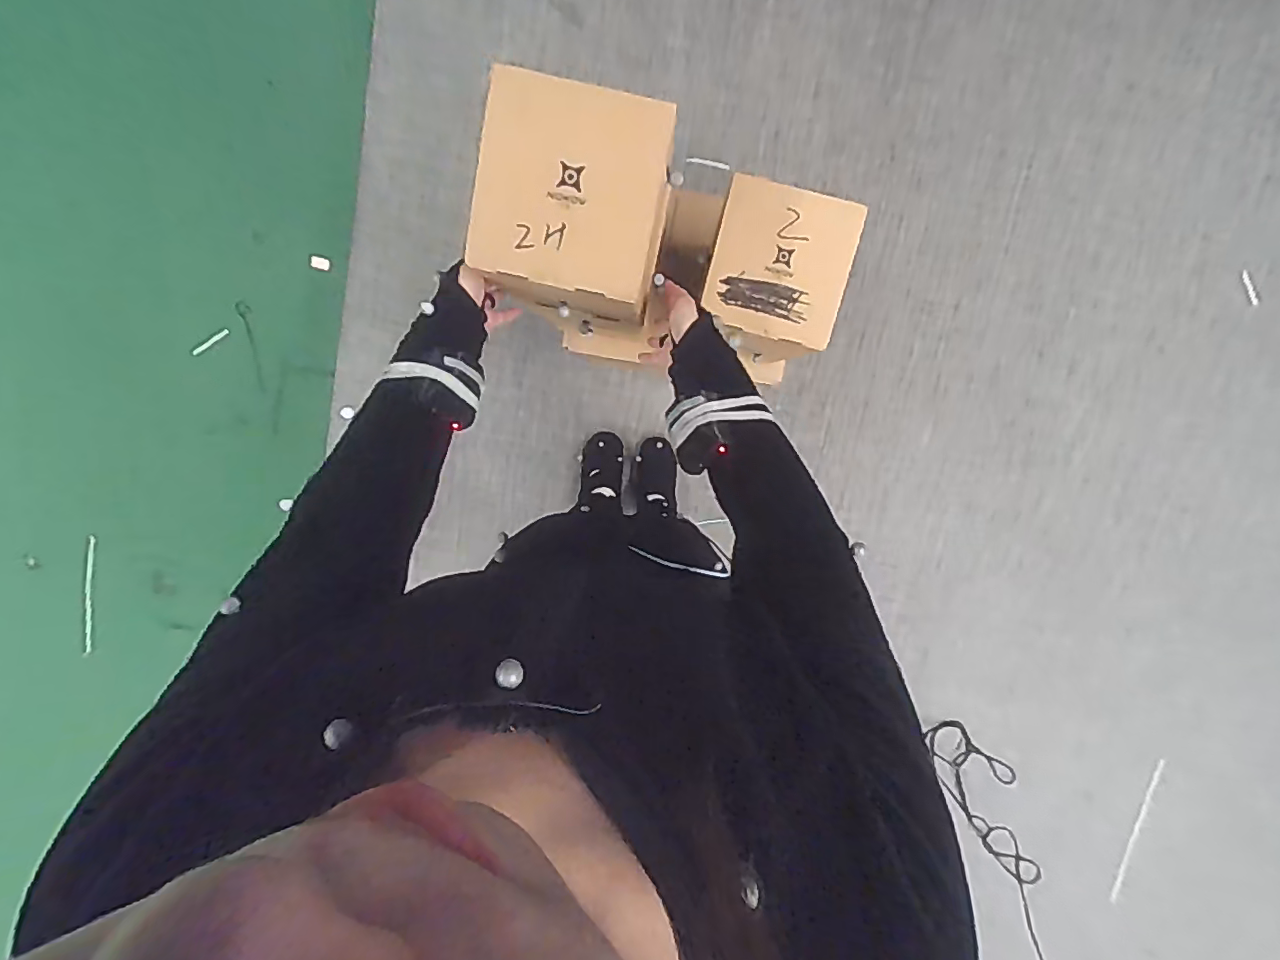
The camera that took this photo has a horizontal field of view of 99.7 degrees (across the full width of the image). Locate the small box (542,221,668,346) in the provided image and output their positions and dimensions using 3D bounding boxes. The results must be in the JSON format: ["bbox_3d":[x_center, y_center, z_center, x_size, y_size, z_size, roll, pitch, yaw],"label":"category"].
[{"bbox_3d":[-0.054,-0.328,0.892,0.168,0.176,0.179,11,100,-1],"label":"small box"}]

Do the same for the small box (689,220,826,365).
[{"bbox_3d":[0.181,-0.295,0.890,0.168,0.176,0.179,15,98,0],"label":"small box"}]

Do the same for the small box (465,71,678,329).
[{"bbox_3d":[-0.064,-0.271,0.568,0.168,0.176,0.179,13,99,-1],"label":"small box"}]
